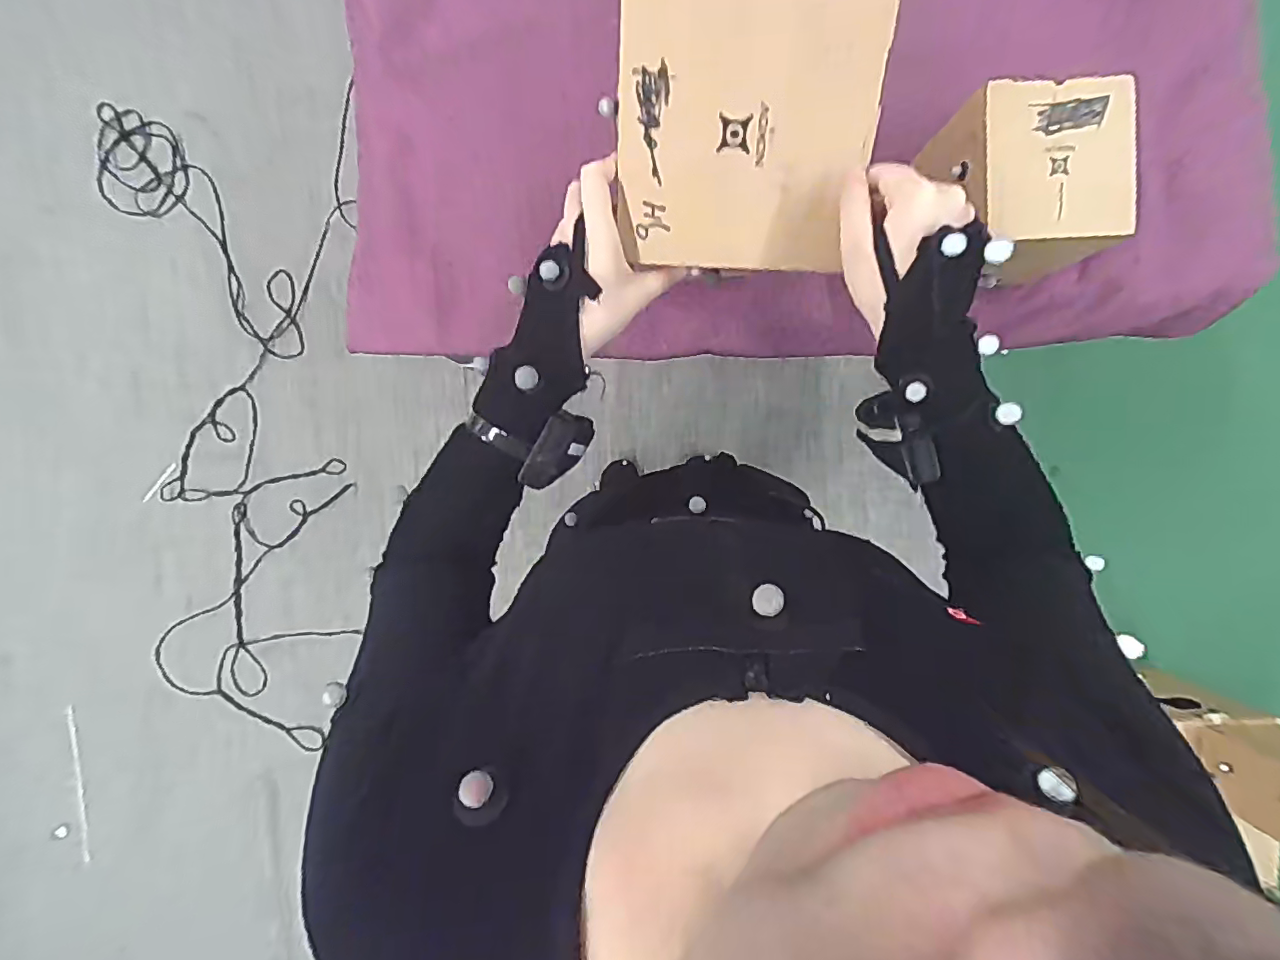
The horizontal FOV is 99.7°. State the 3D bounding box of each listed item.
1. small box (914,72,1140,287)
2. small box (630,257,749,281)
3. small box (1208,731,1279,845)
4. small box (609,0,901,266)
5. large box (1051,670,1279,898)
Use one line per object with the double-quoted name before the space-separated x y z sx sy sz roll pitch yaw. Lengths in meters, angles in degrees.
"small box" 0.457 -0.353 0.664 0.168 0.176 0.179 -2 92 1
"small box" 0.062 -0.365 0.665 0.168 0.176 0.179 -4 91 1
"small box" 1.344 0.635 1.110 0.179 0.176 0.168 -1 93 0
"small box" 0.068 -0.261 0.424 0.179 0.176 0.168 2 111 -1
"large box" 1.296 0.734 1.358 0.320 0.320 0.408 -1 93 1
